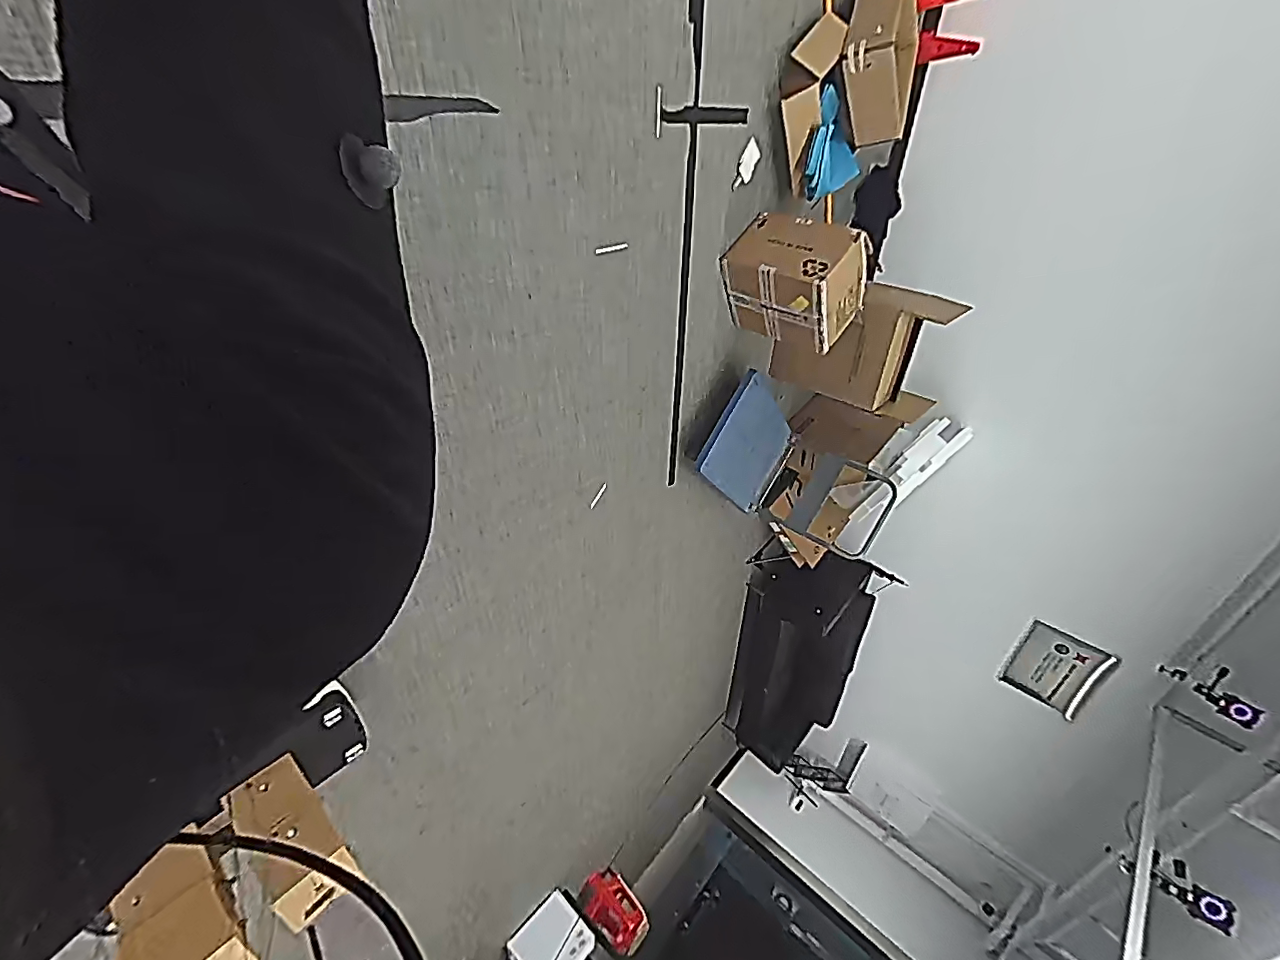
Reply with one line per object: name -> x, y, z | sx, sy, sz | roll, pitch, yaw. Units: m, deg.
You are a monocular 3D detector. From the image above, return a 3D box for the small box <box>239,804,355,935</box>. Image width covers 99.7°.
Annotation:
small box -> -0.833, 0.942, 1.320 | 0.168, 0.176, 0.179 | -32, 137, -39

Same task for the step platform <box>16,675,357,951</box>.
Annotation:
step platform -> -1.143, 0.856, 1.454 | 0.684, 0.204, 0.286 | -33, 138, -39

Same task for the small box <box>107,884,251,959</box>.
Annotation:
small box -> -0.991, 1.035, 1.168 | 0.179, 0.176, 0.168 | -30, 135, -40

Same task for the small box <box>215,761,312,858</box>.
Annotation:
small box -> -0.958, 0.875, 1.404 | 0.168, 0.176, 0.179 | -31, 136, -40
